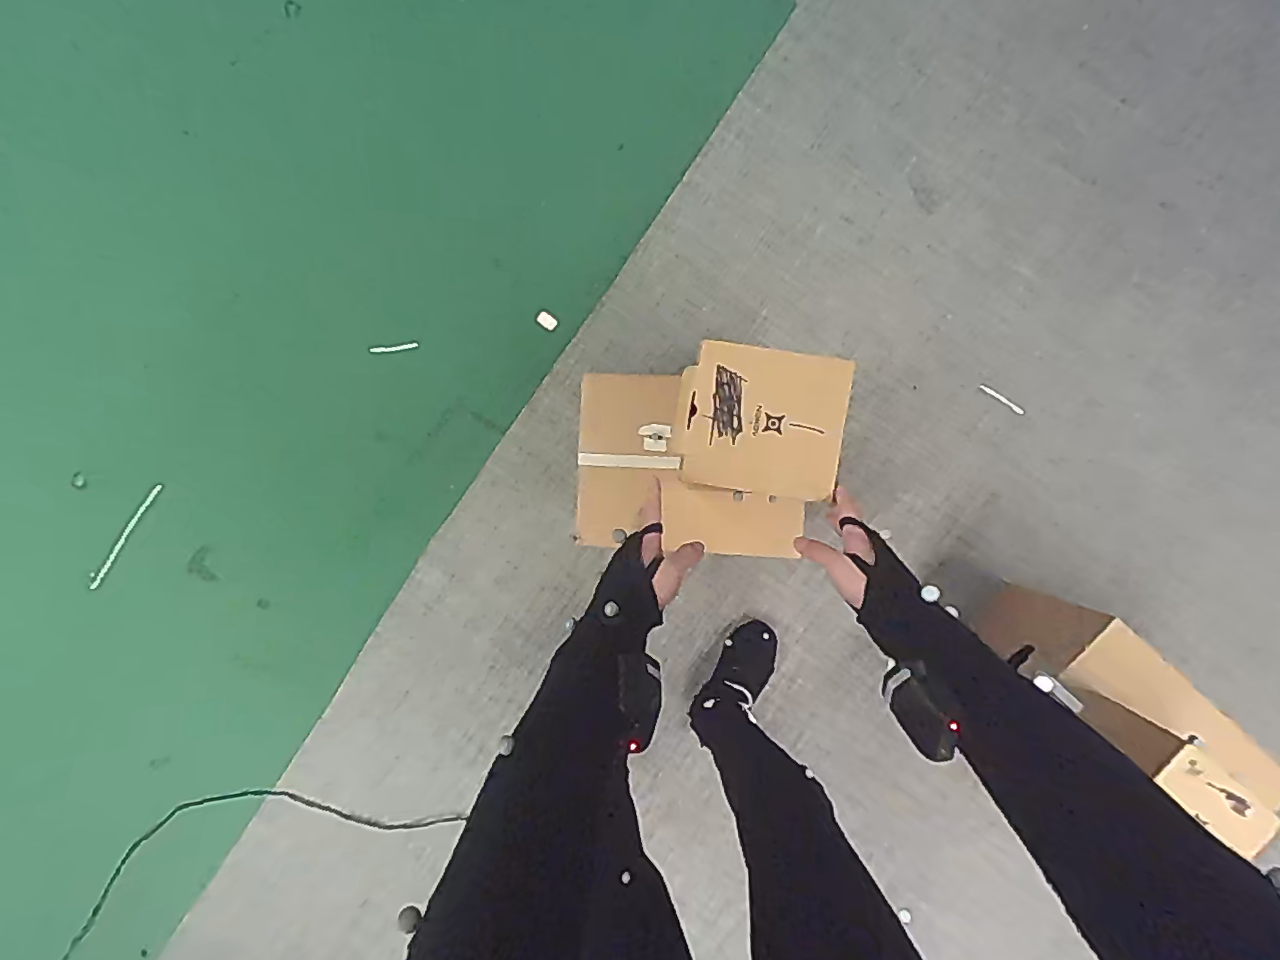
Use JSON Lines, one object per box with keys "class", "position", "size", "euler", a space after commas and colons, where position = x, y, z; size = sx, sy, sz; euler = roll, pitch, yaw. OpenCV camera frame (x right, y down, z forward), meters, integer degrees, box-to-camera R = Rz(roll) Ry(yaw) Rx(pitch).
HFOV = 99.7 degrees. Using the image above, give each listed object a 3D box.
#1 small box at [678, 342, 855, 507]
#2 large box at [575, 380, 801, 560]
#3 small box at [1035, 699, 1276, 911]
{"class": "small box", "position": [0.147, -0.063, 0.688], "size": [0.179, 0.176, 0.168], "euler": [10, 91, 3]}
{"class": "large box", "position": [0.098, -0.022, 1.103], "size": [0.408, 0.320, 0.320], "euler": [3, 90, 4]}
{"class": "small box", "position": [0.754, 0.478, 0.822], "size": [0.168, 0.176, 0.179], "euler": [41, 94, 2]}
